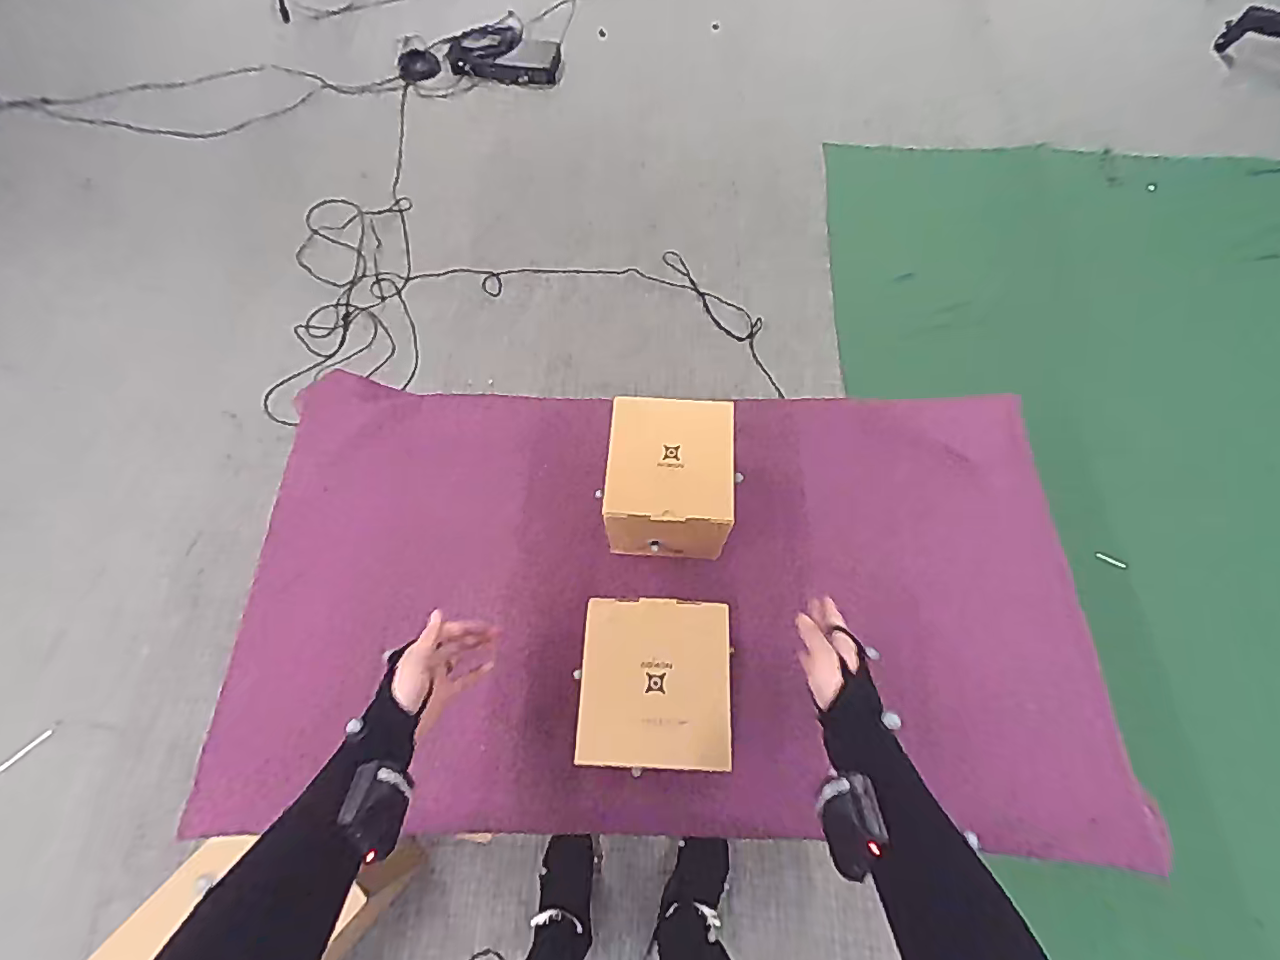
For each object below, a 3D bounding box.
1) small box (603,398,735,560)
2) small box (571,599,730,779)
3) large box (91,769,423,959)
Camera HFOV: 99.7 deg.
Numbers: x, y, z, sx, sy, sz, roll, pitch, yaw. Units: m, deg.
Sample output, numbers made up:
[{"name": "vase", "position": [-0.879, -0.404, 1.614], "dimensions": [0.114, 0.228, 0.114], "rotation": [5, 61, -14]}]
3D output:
[{"name": "small box", "position": [0.040, 0.004, 0.770], "dimensions": [0.168, 0.176, 0.179], "rotation": [3, 68, 2]}, {"name": "small box", "position": [0.016, 0.254, 0.657], "dimensions": [0.168, 0.176, 0.179], "rotation": [2, 65, 3]}, {"name": "large box", "position": [-0.747, 0.882, 1.115], "dimensions": [0.320, 0.320, 0.408], "rotation": [39, 71, 15]}]
